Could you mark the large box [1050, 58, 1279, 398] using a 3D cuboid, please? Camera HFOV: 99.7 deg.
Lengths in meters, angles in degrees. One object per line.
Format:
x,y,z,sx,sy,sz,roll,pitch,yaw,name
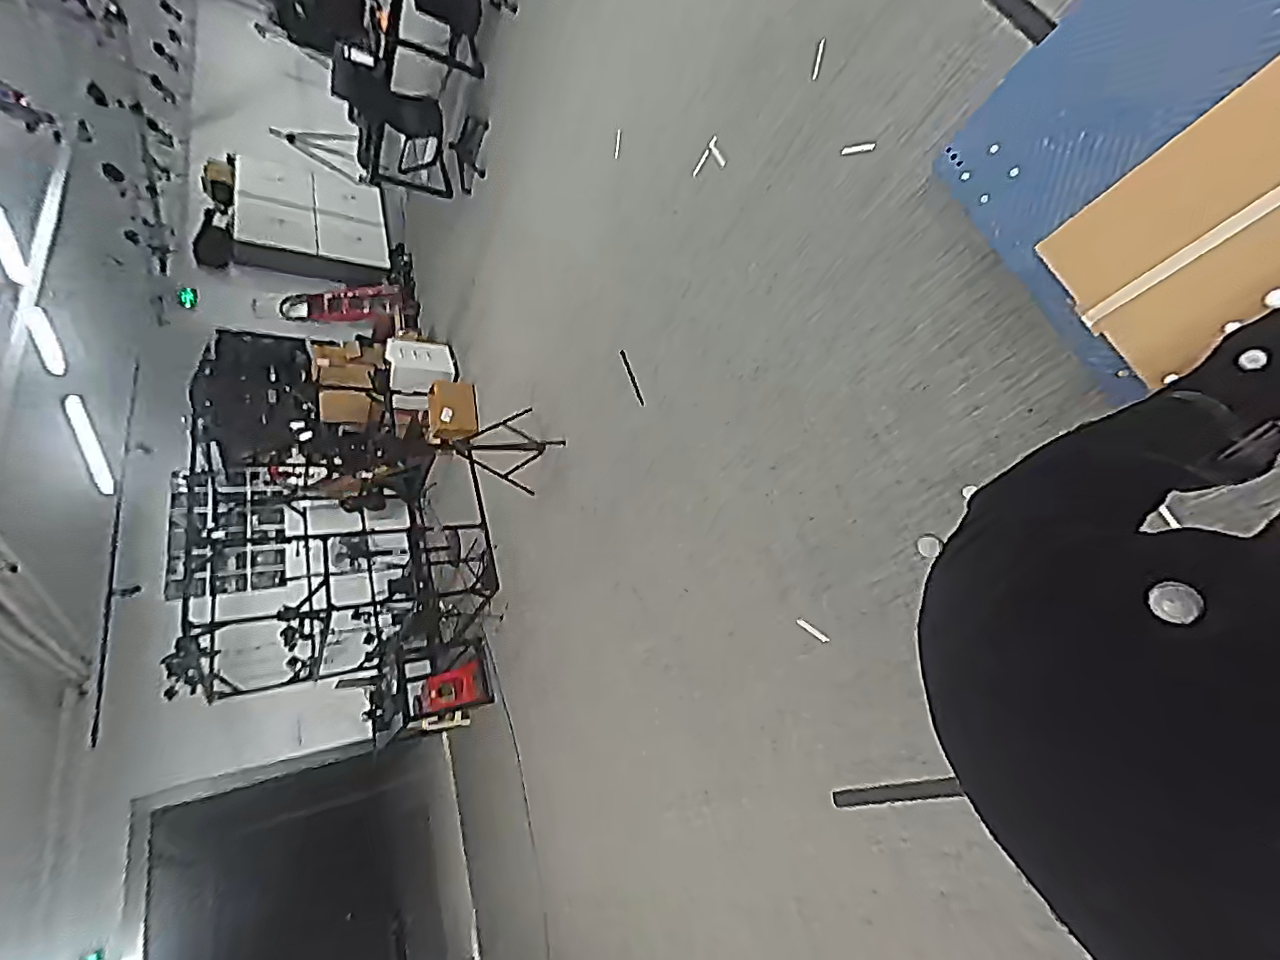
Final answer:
0.944,-0.365,0.787,0.408,0.320,0.320,-45,57,46,large box
